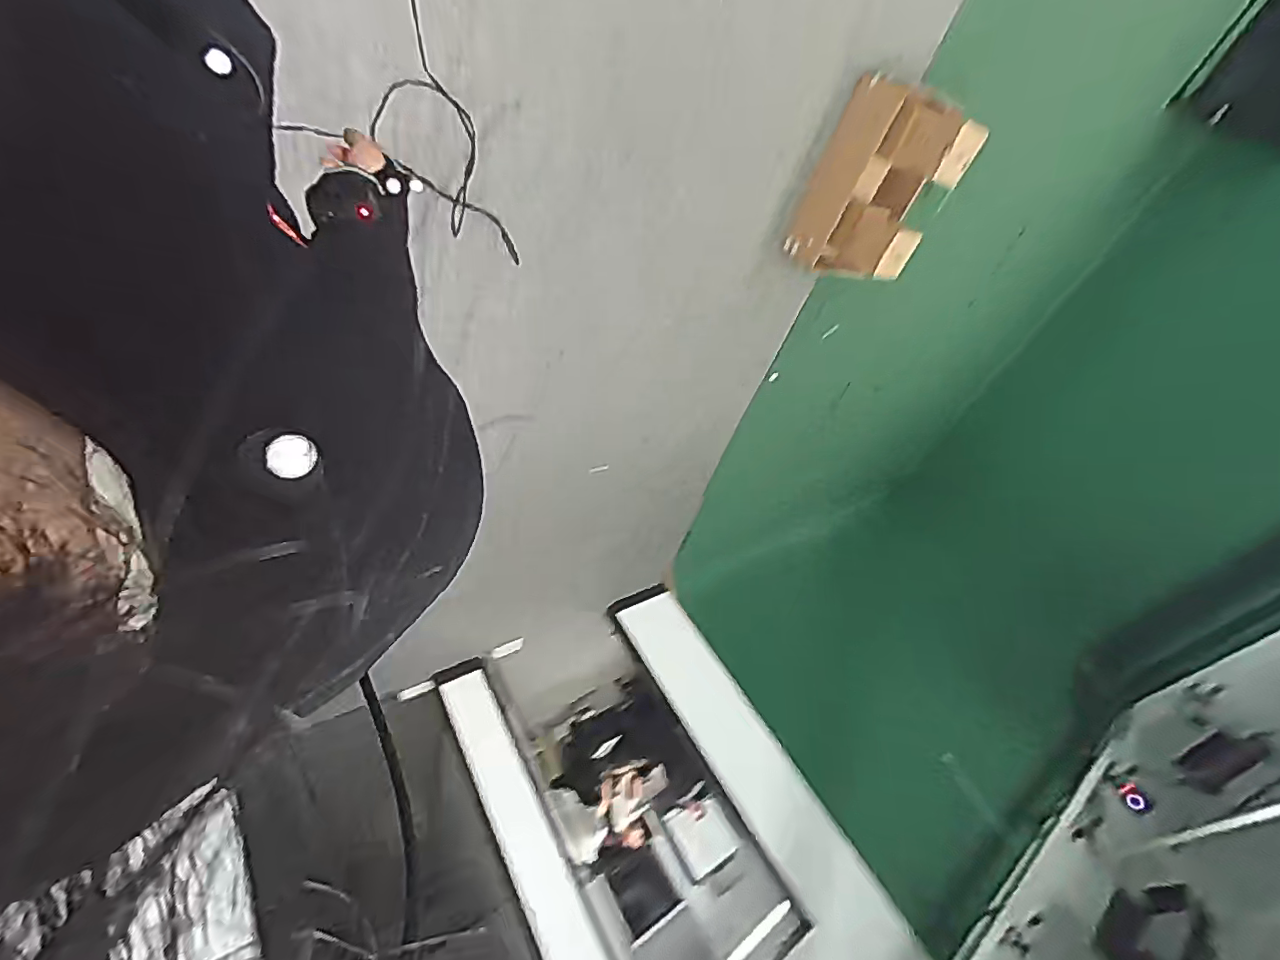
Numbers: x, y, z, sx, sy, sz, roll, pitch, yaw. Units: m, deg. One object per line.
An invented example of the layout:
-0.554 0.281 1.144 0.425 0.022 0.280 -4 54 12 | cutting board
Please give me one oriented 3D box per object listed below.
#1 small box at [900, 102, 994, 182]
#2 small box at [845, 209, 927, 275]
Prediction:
0.995 -1.106 1.767 0.179 0.176 0.168 -10 140 -36 | small box
0.896 -0.872 1.978 0.179 0.176 0.168 -12 140 -34 | small box
